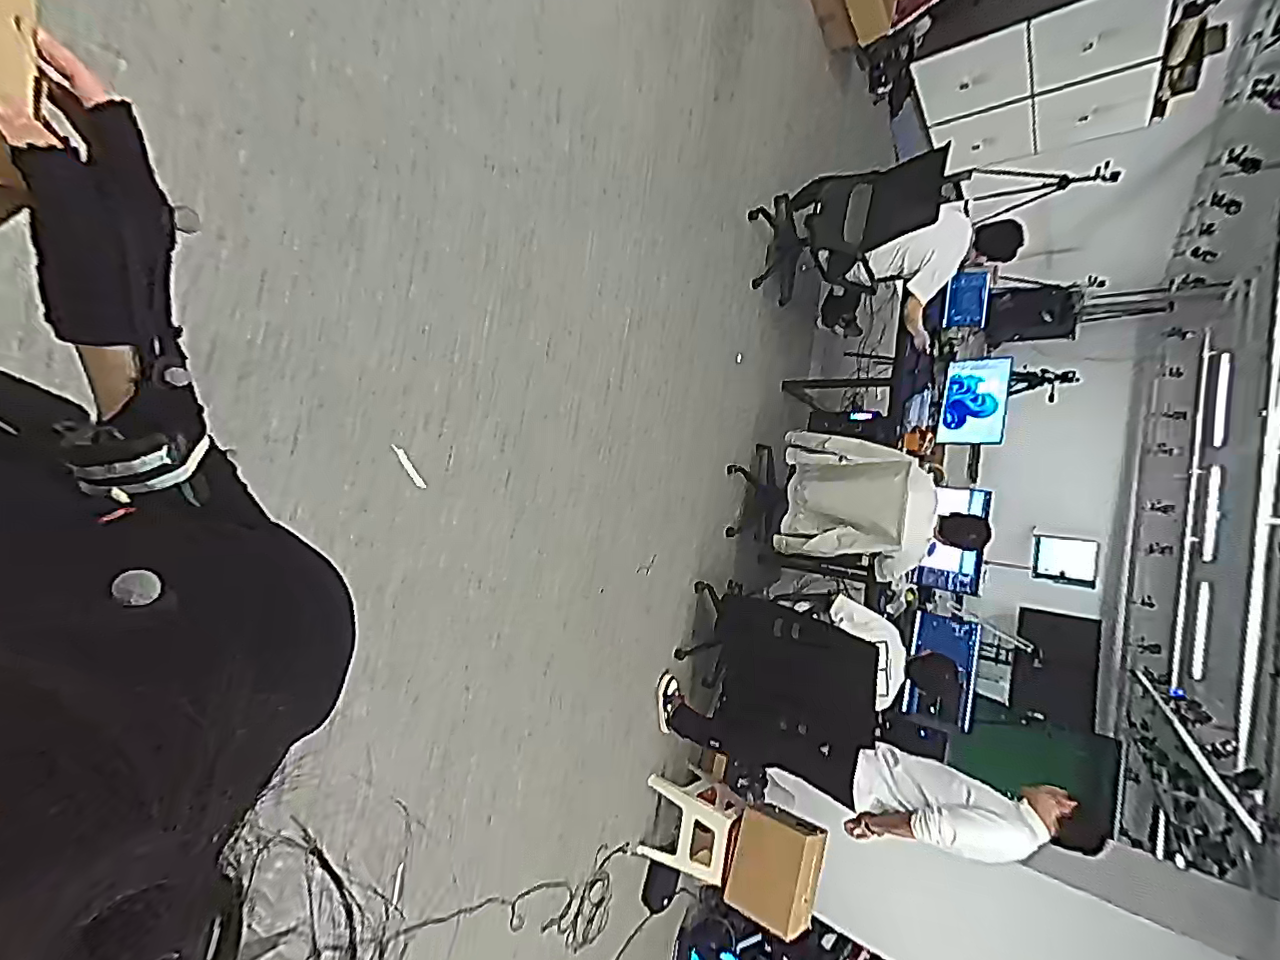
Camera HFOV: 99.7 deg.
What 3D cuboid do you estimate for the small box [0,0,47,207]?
[{"bbox_3d":[-0.423,-0.236,0.247,0.179,0.176,0.168,-3,98,-58],"label":"small box"}]
